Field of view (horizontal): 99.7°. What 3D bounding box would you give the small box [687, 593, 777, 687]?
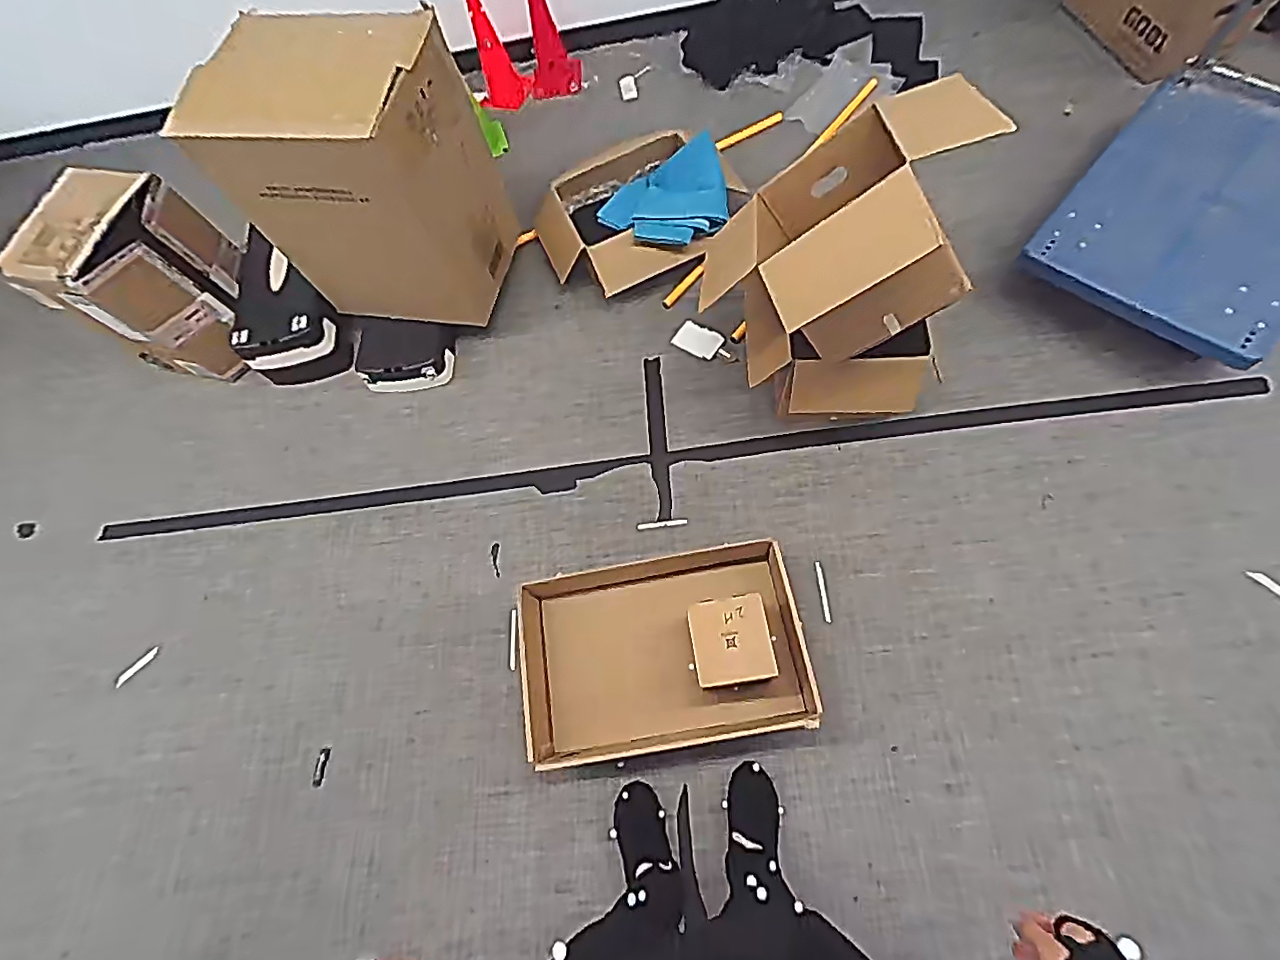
[{"bbox_3d":[0.203,0.364,1.214,0.168,0.176,0.179,-10,67,3],"label":"small box"}]
